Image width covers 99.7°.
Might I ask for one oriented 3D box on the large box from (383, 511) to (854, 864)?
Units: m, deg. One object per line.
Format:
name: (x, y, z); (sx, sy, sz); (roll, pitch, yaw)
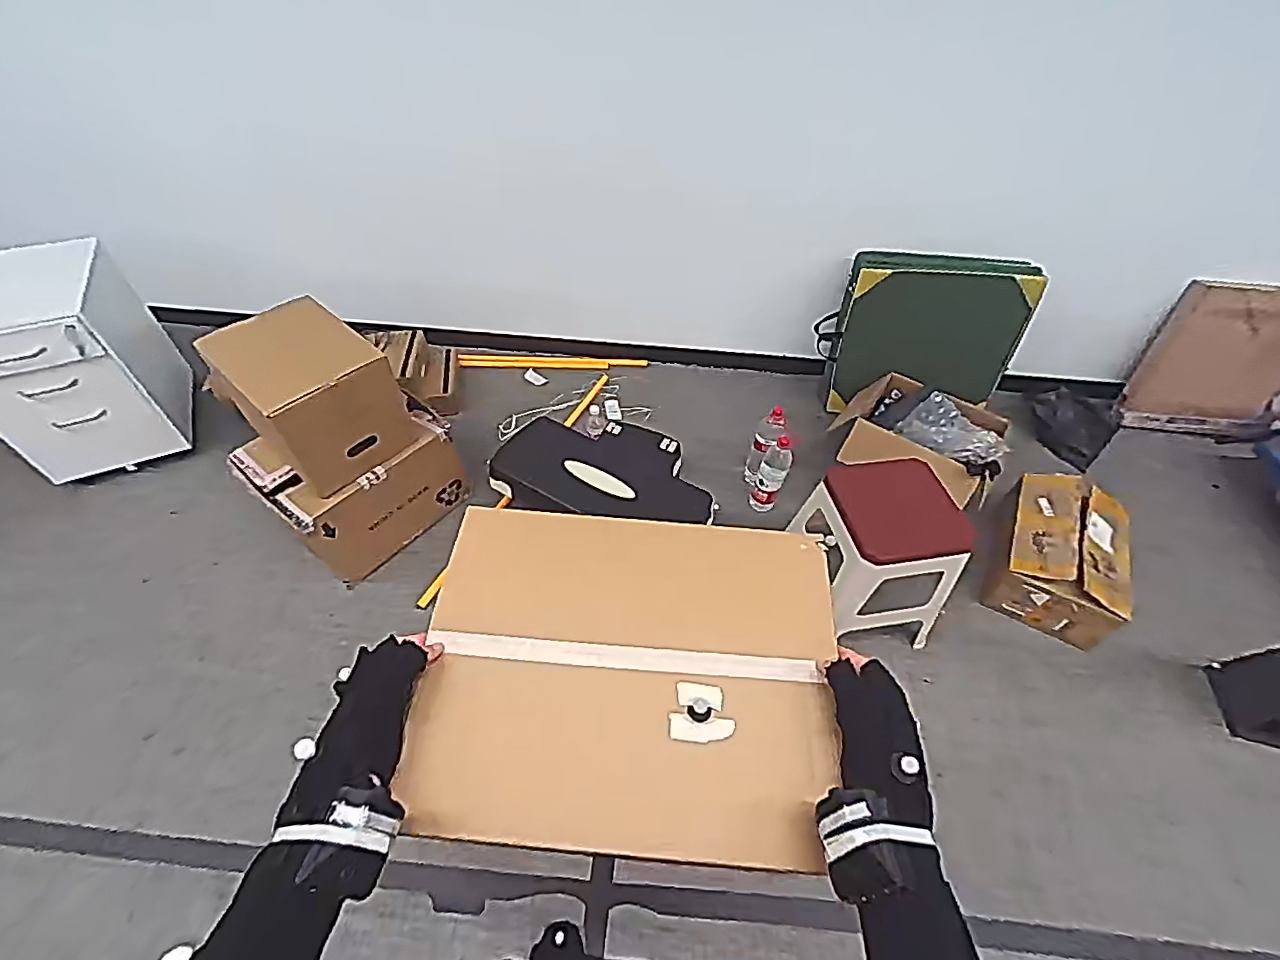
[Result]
large box: (-0.015, 0.260, 0.654); (0.408, 0.320, 0.320); (5, 55, 1)
